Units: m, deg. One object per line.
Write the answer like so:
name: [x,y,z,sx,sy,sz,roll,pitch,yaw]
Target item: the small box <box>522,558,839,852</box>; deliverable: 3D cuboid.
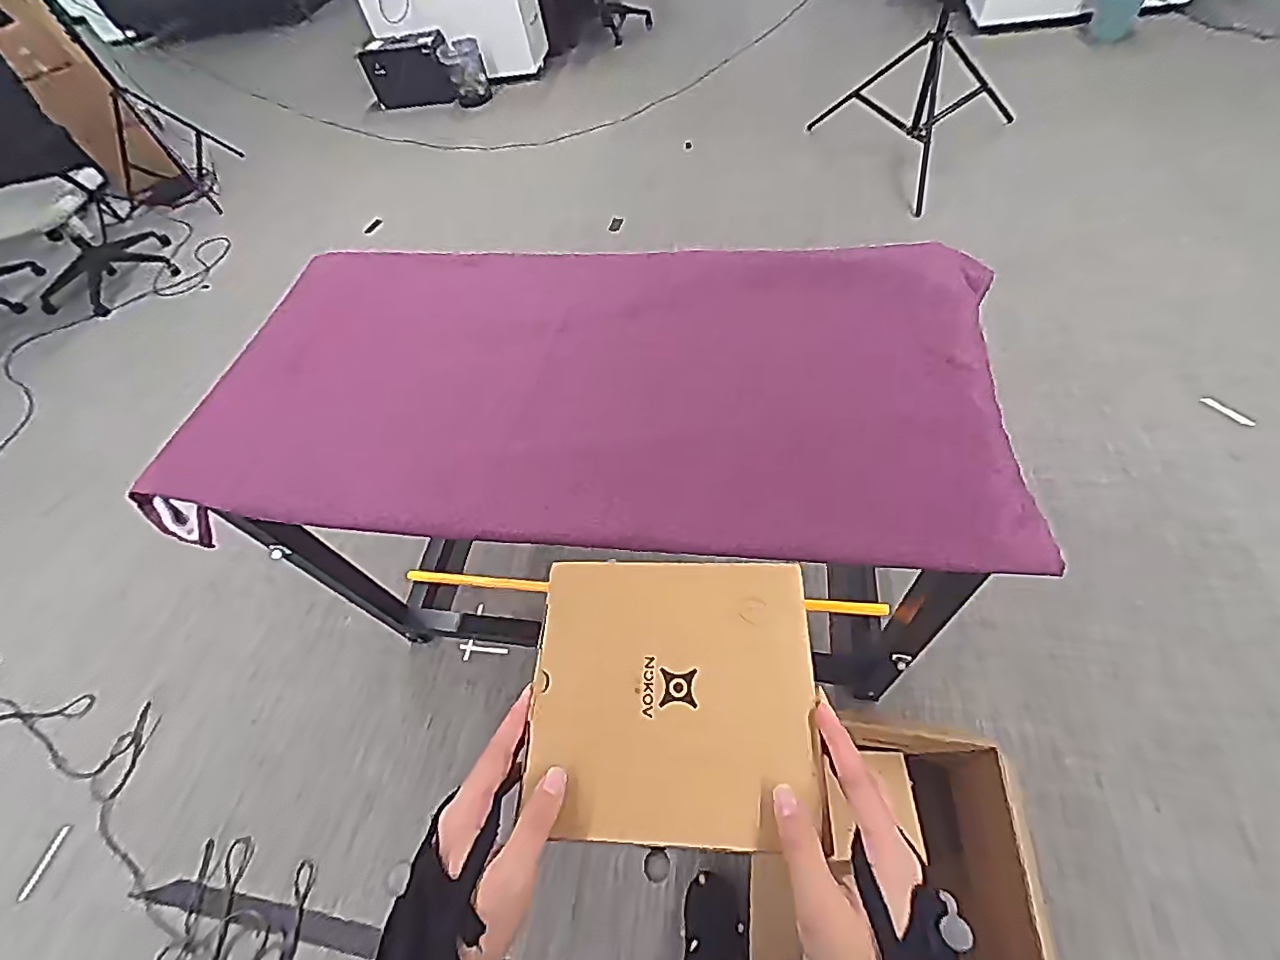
small box: [0.031,0.167,0.402,0.179,0.176,0.168,-1,58,7]
